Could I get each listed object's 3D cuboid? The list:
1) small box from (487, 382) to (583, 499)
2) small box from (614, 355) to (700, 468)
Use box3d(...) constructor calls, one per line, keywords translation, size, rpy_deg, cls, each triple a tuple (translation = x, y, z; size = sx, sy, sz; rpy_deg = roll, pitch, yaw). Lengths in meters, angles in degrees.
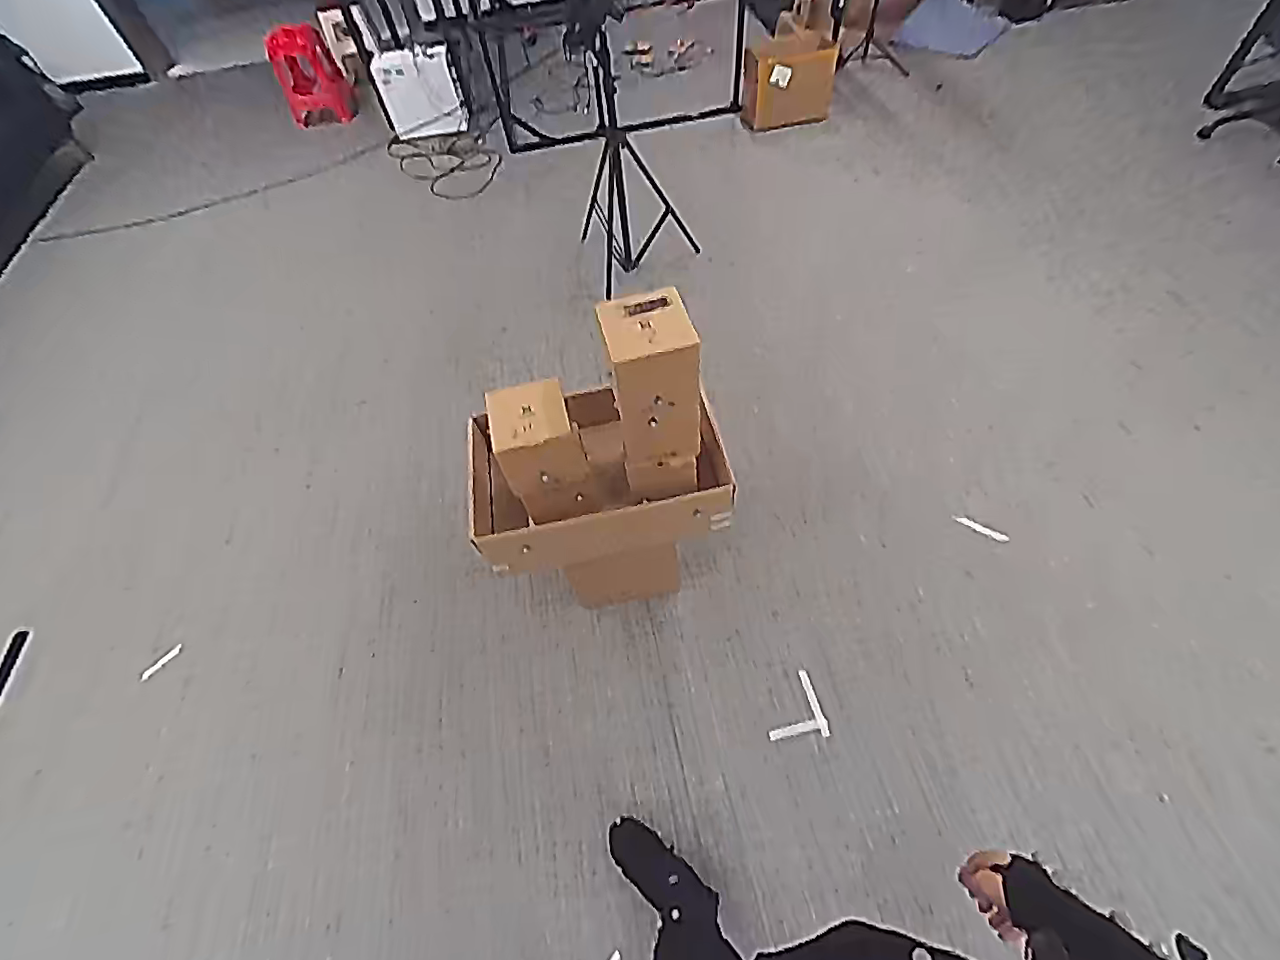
box3d(translation=(-0.231, -0.086, 1.205), size=(0.168, 0.176, 0.179), rpy_deg=(-15, 56, -5), cls="small box")
box3d(translation=(0.039, -0.152, 1.217), size=(0.168, 0.176, 0.179), rpy_deg=(-10, 55, 0), cls="small box")
